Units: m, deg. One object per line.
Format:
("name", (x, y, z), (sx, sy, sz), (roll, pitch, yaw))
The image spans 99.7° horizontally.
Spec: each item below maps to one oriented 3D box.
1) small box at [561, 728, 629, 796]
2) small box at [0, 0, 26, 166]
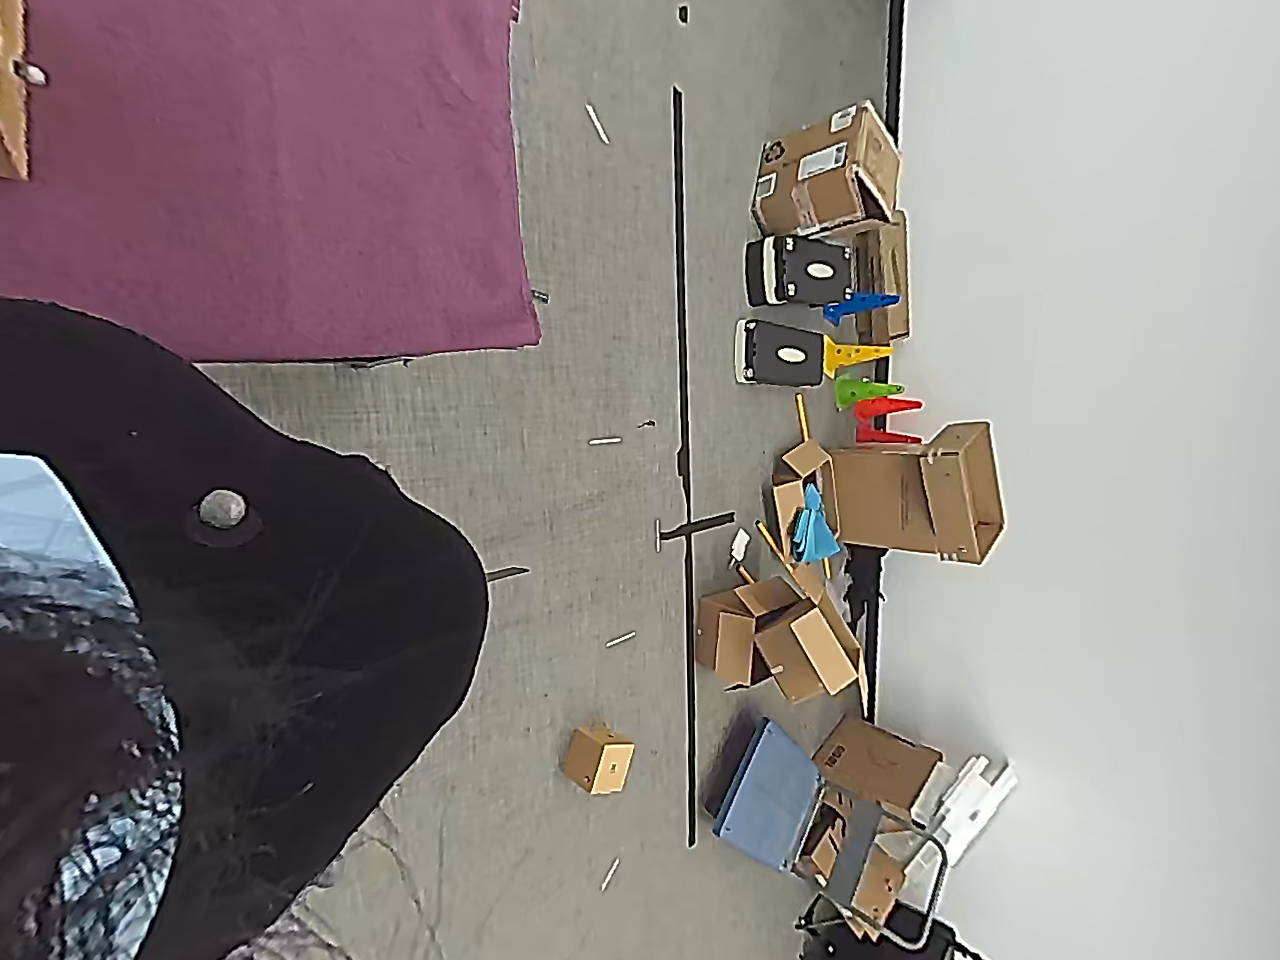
("small box", (-0.172, 1.046, 2.022), (0.168, 0.176, 0.179), (25, 78, -44))
("small box", (-0.587, -0.360, 0.391), (0.179, 0.176, 0.168), (0, 95, -45))
